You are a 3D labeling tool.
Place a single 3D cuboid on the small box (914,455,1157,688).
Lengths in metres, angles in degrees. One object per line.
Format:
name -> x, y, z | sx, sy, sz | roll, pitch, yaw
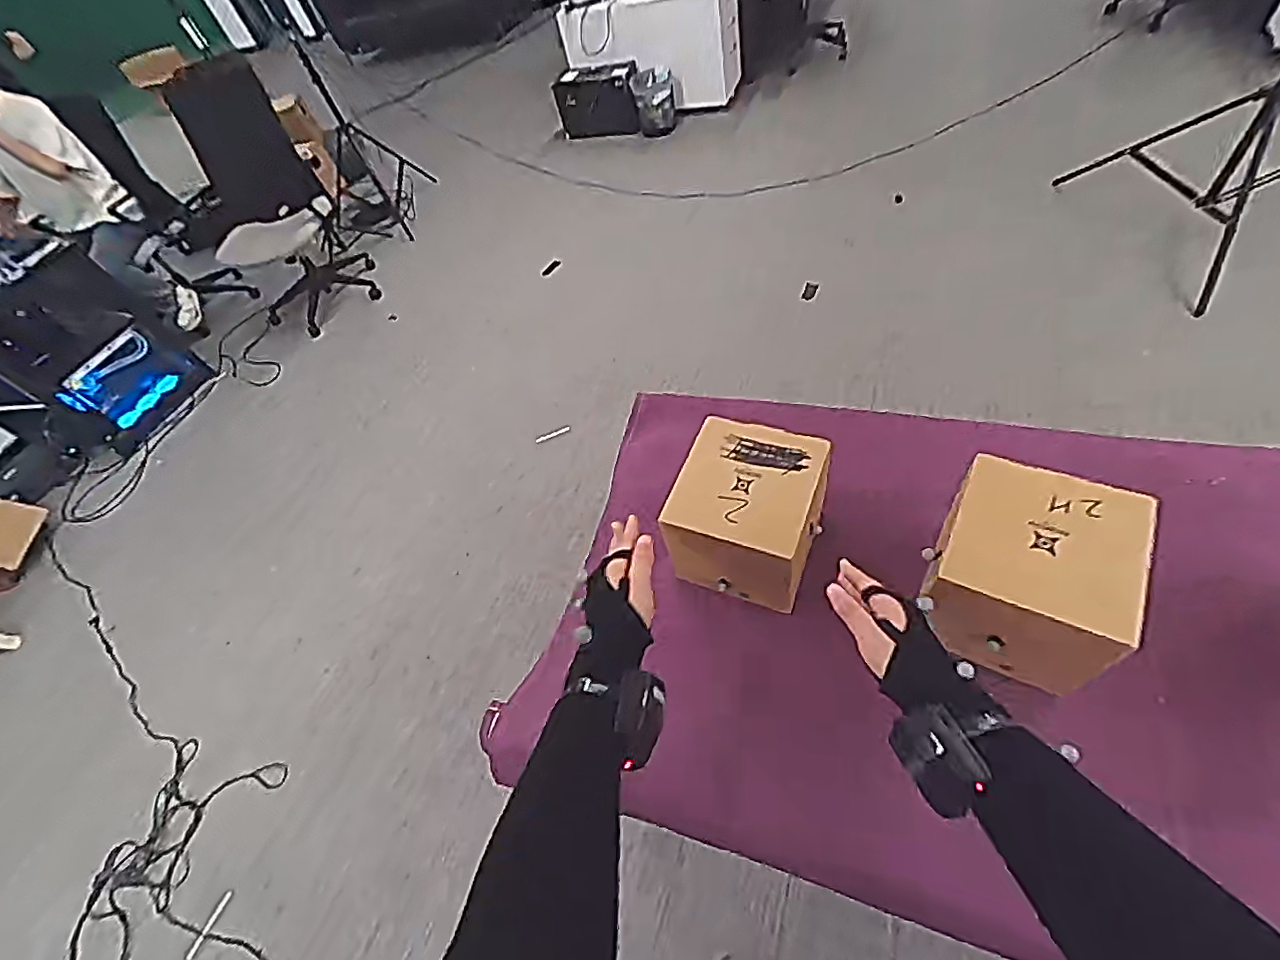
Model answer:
small box -> 0.430, 0.106, 0.613 | 0.168, 0.176, 0.179 | 21, 62, 26
